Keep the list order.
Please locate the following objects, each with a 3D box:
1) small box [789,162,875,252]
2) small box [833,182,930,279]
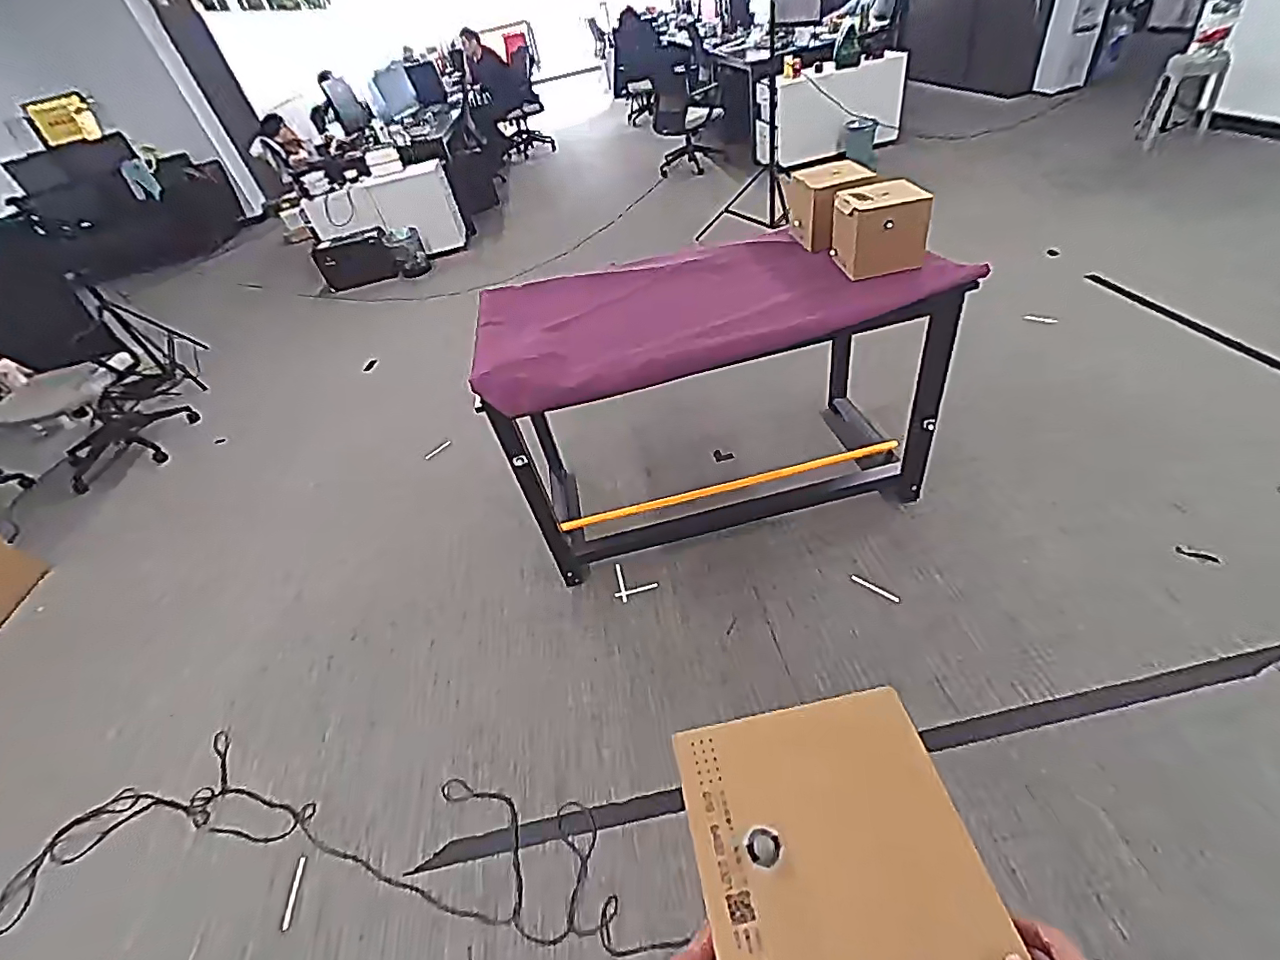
[{"bbox_3d":[0.536,-0.772,1.534,0.179,0.176,0.168,-14,43,-1],"label":"small box"},{"bbox_3d":[0.596,-0.624,1.360,0.179,0.176,0.168,-10,41,4],"label":"small box"}]
